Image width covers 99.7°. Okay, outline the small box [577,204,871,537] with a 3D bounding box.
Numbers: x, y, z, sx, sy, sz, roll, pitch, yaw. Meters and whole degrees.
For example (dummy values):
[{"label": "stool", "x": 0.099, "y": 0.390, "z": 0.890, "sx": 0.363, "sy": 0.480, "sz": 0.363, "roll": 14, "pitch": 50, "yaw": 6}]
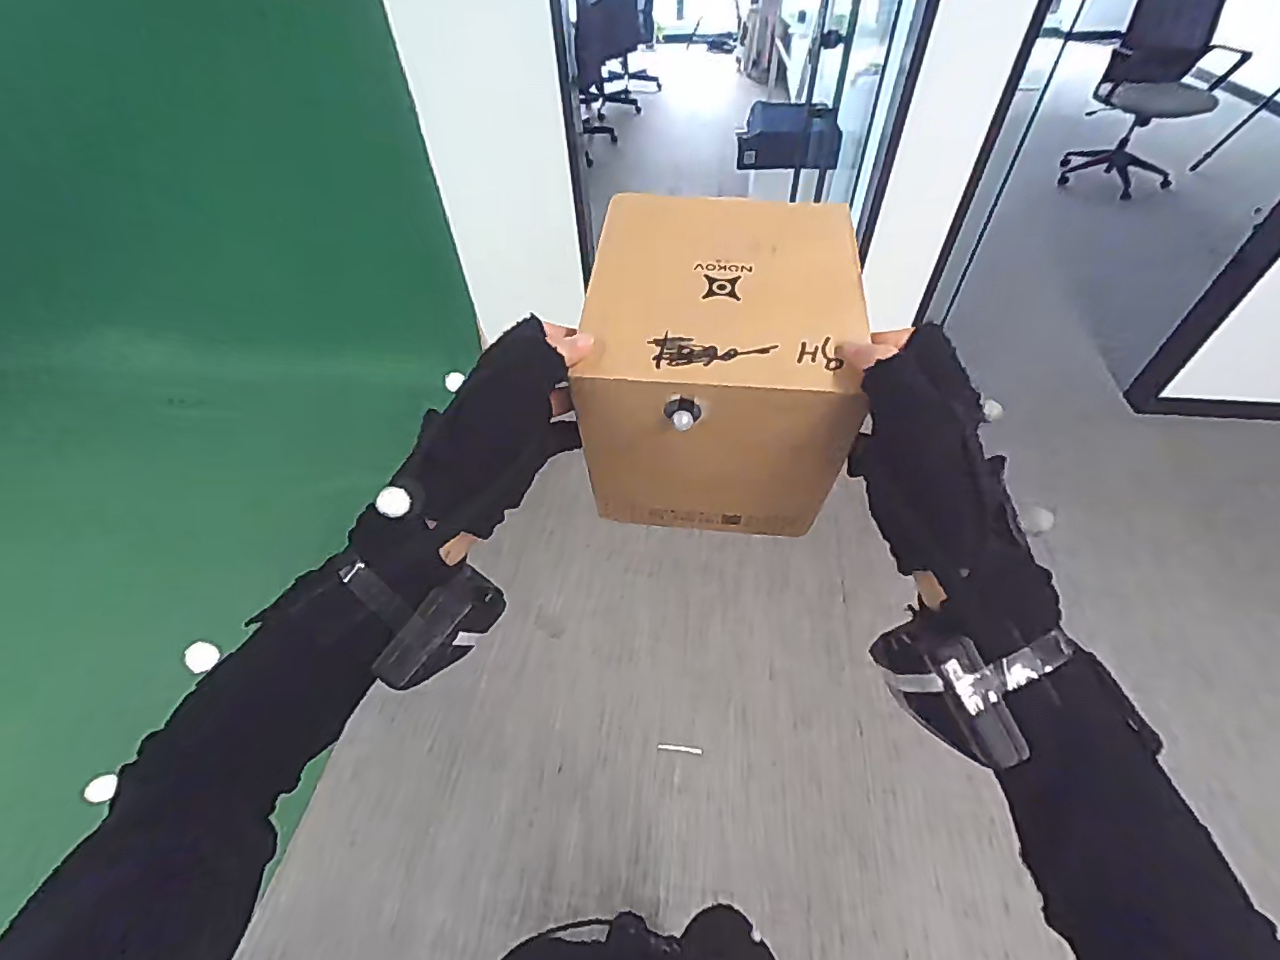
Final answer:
[{"label": "small box", "x": 0.058, "y": -0.078, "z": 0.408, "sx": 0.168, "sy": 0.176, "sz": 0.179, "roll": 5, "pitch": 57, "yaw": 6}]
